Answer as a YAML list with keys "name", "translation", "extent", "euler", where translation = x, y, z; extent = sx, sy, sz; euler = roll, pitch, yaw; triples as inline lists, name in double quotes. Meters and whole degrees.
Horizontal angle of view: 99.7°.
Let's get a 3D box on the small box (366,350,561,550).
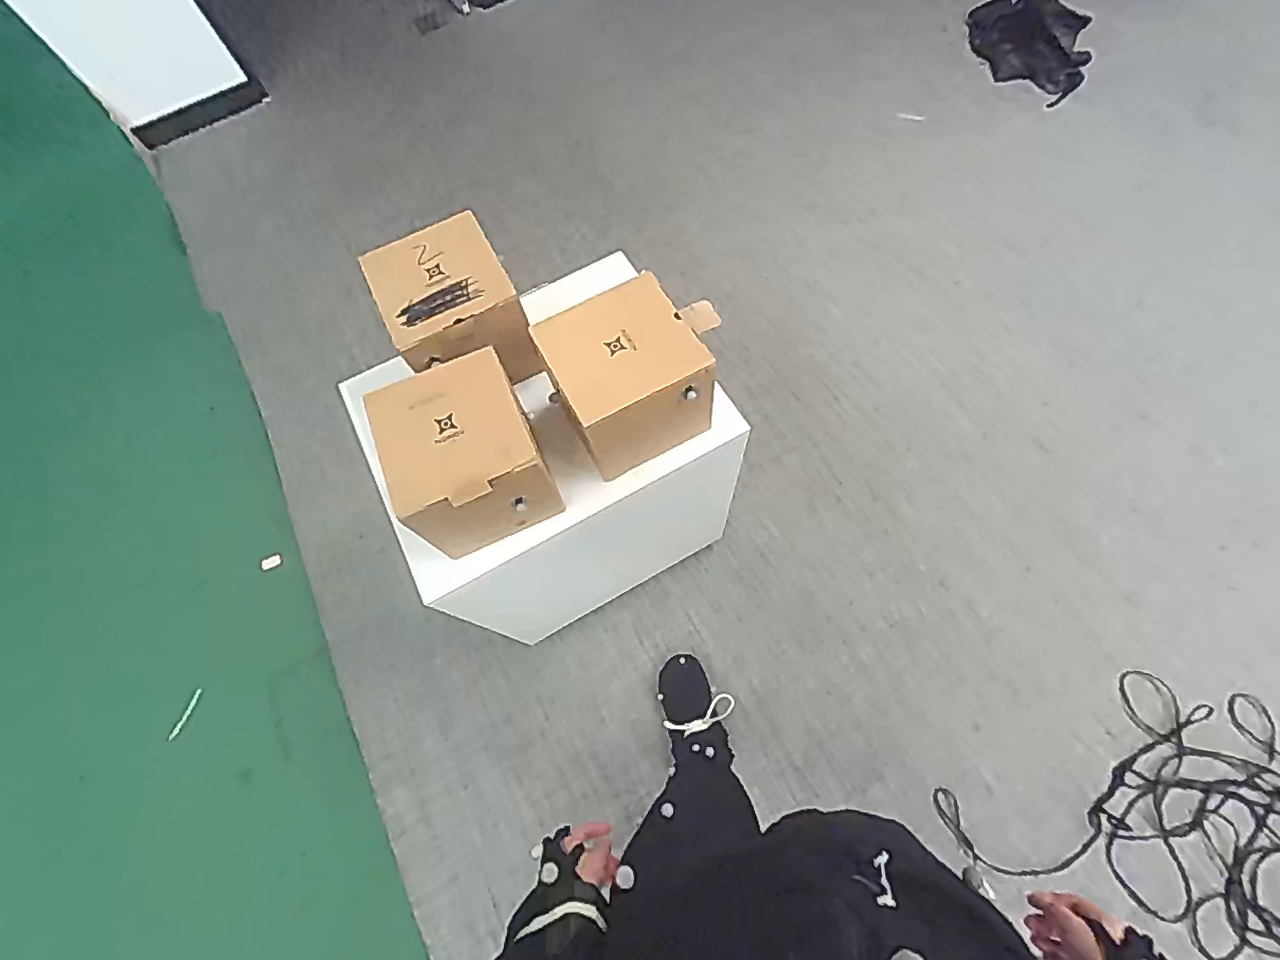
- name: "small box"
  translation: [-0.214, -0.025, 0.691]
  extent: [0.168, 0.176, 0.179]
  euler: [-24, 66, -8]
